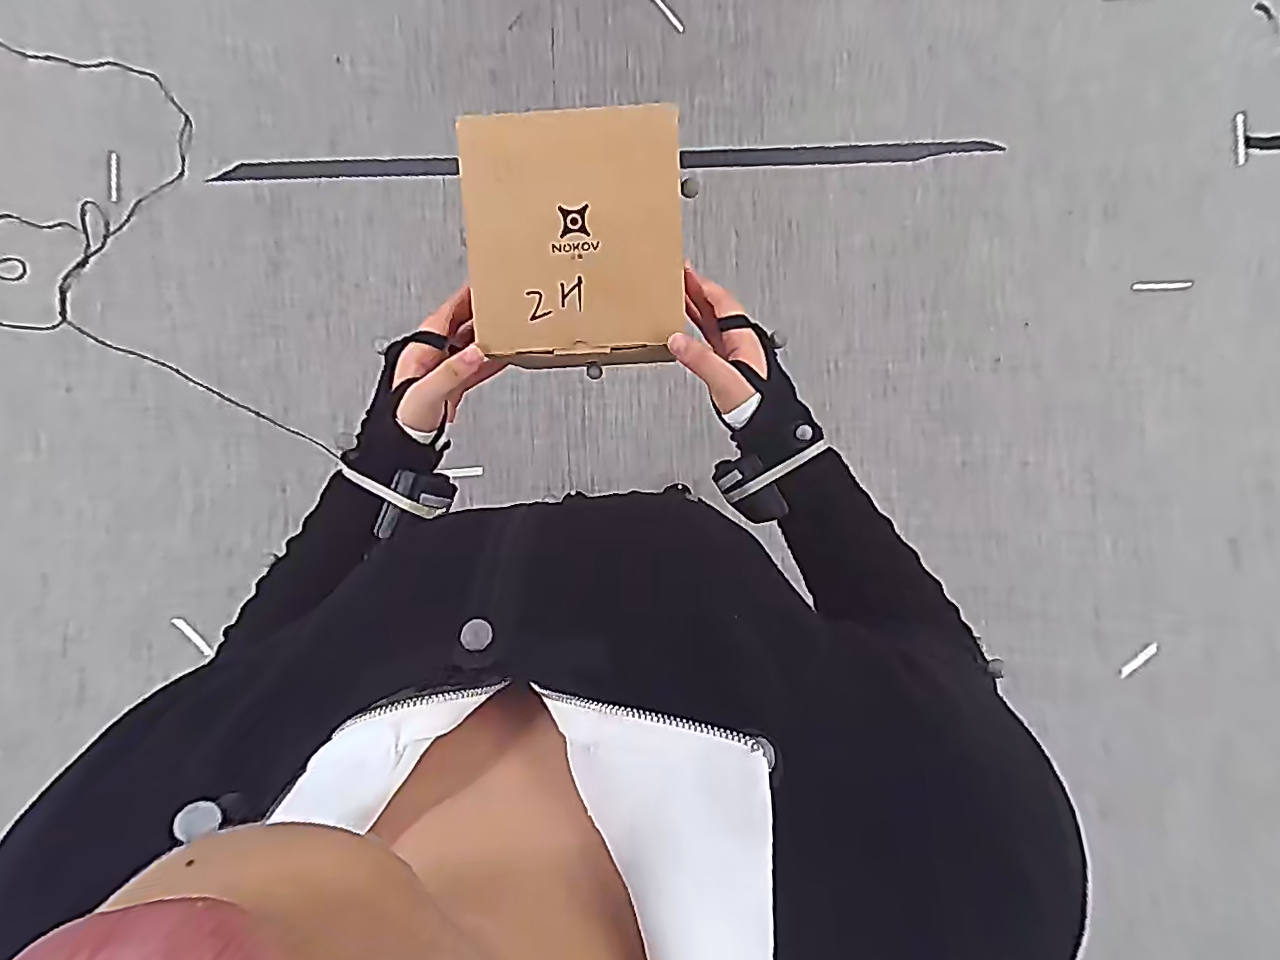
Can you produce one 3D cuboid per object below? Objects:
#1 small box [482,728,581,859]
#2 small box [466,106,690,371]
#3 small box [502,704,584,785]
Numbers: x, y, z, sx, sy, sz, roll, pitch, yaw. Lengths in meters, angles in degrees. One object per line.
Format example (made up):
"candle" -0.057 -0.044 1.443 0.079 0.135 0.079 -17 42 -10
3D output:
"small box" -0.224 0.659 1.152 0.168 0.176 0.179 -7 90 0
"small box" -0.045 -0.196 0.488 0.168 0.176 0.179 -3 97 2
"small box" -0.230 0.659 1.315 0.168 0.176 0.179 -4 89 1
